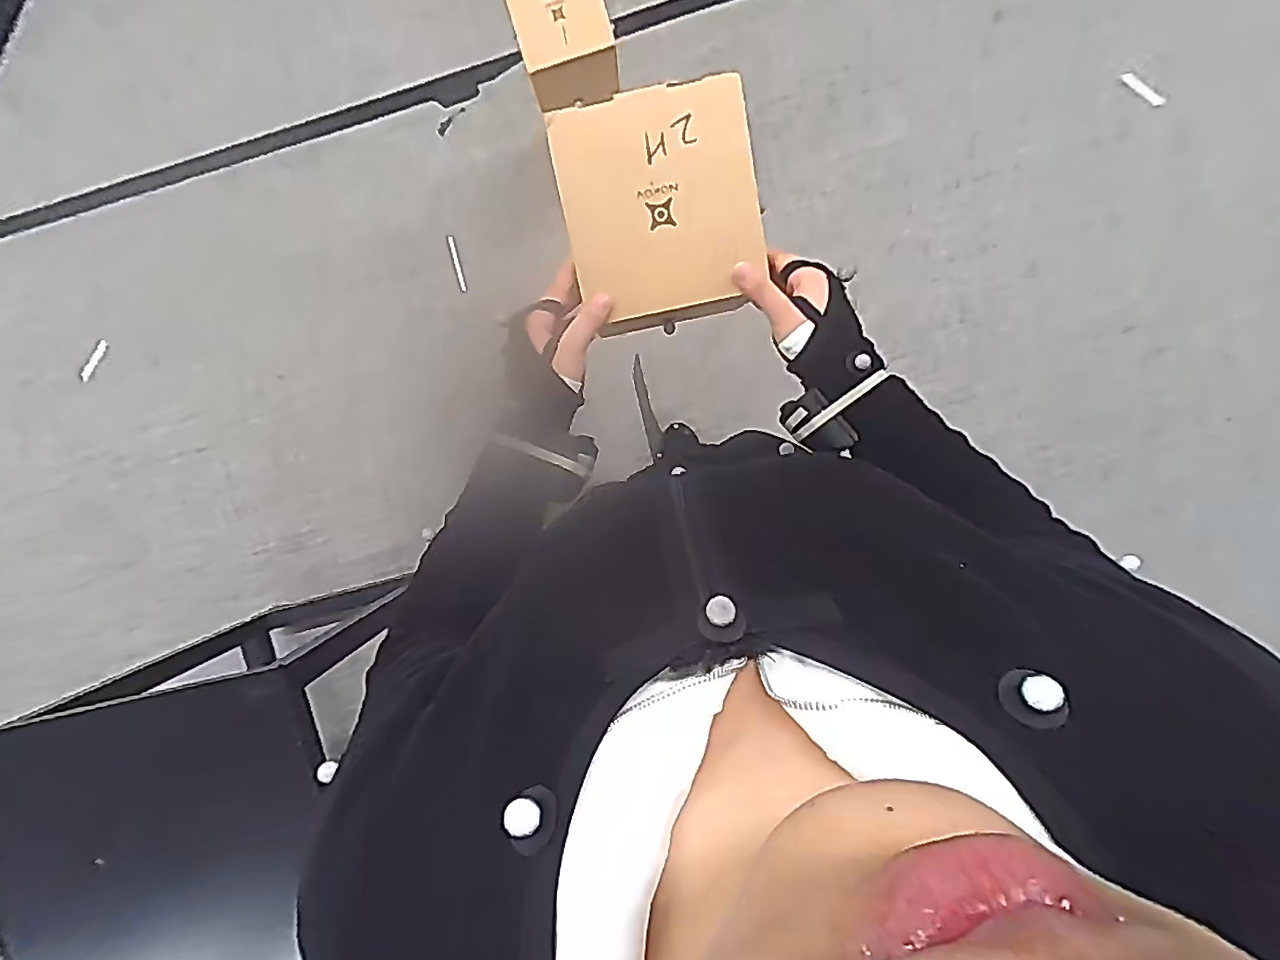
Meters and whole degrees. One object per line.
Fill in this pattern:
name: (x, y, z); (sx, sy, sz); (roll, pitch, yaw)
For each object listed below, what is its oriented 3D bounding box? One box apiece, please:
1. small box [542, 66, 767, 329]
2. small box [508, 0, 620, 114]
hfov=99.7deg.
small box: (0.017, -0.253, 0.535); (0.168, 0.176, 0.179); (-12, 101, 3)
small box: (-0.141, -0.823, 1.028); (0.168, 0.176, 0.179); (-16, 94, 3)
